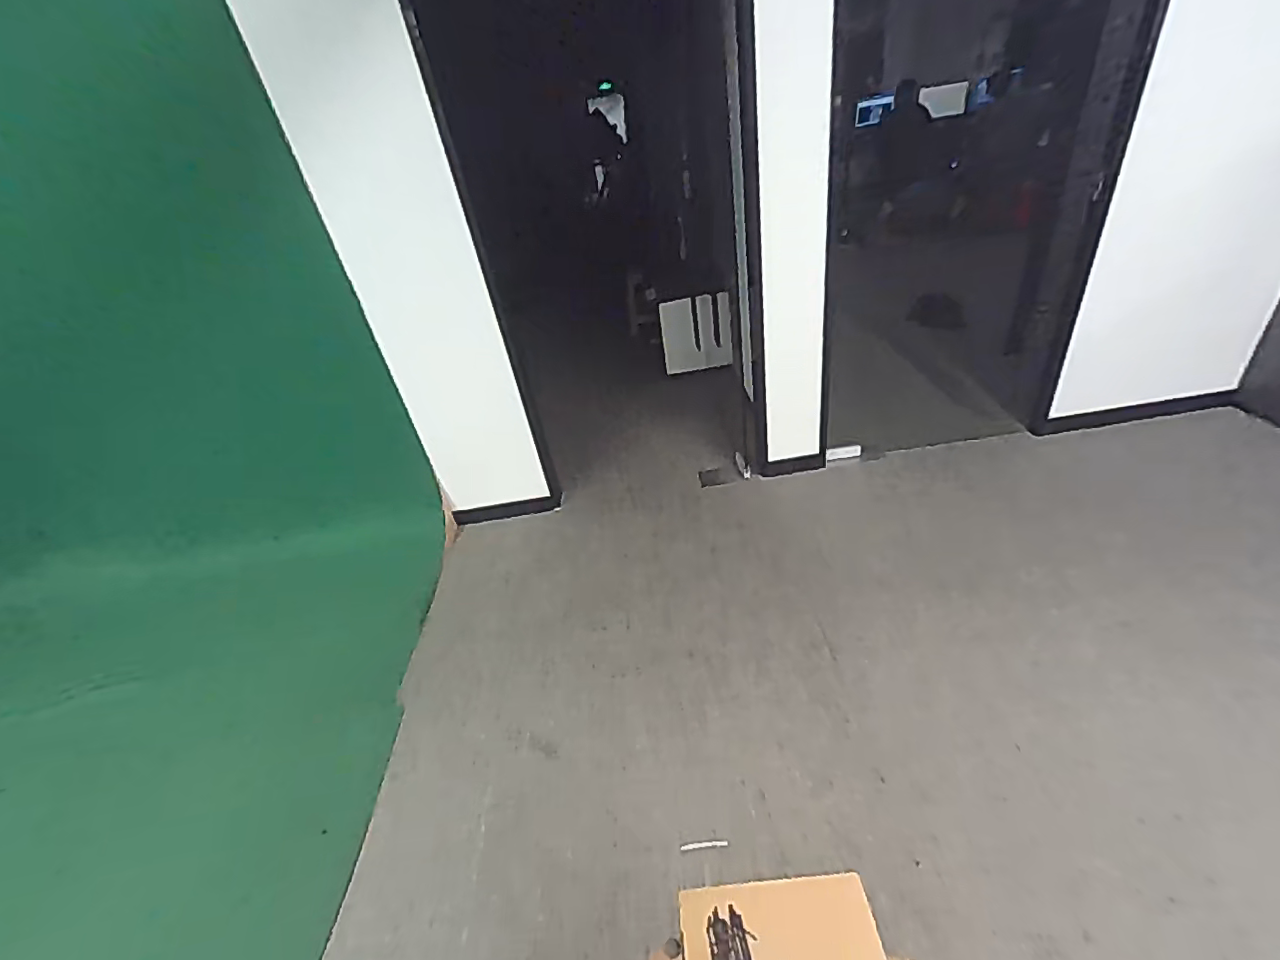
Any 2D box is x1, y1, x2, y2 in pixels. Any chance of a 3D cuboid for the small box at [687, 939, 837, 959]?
[{"bbox_3d":[0.141,0.630,0.576,0.168,0.176,0.179,-5,32,4],"label":"small box"}]
